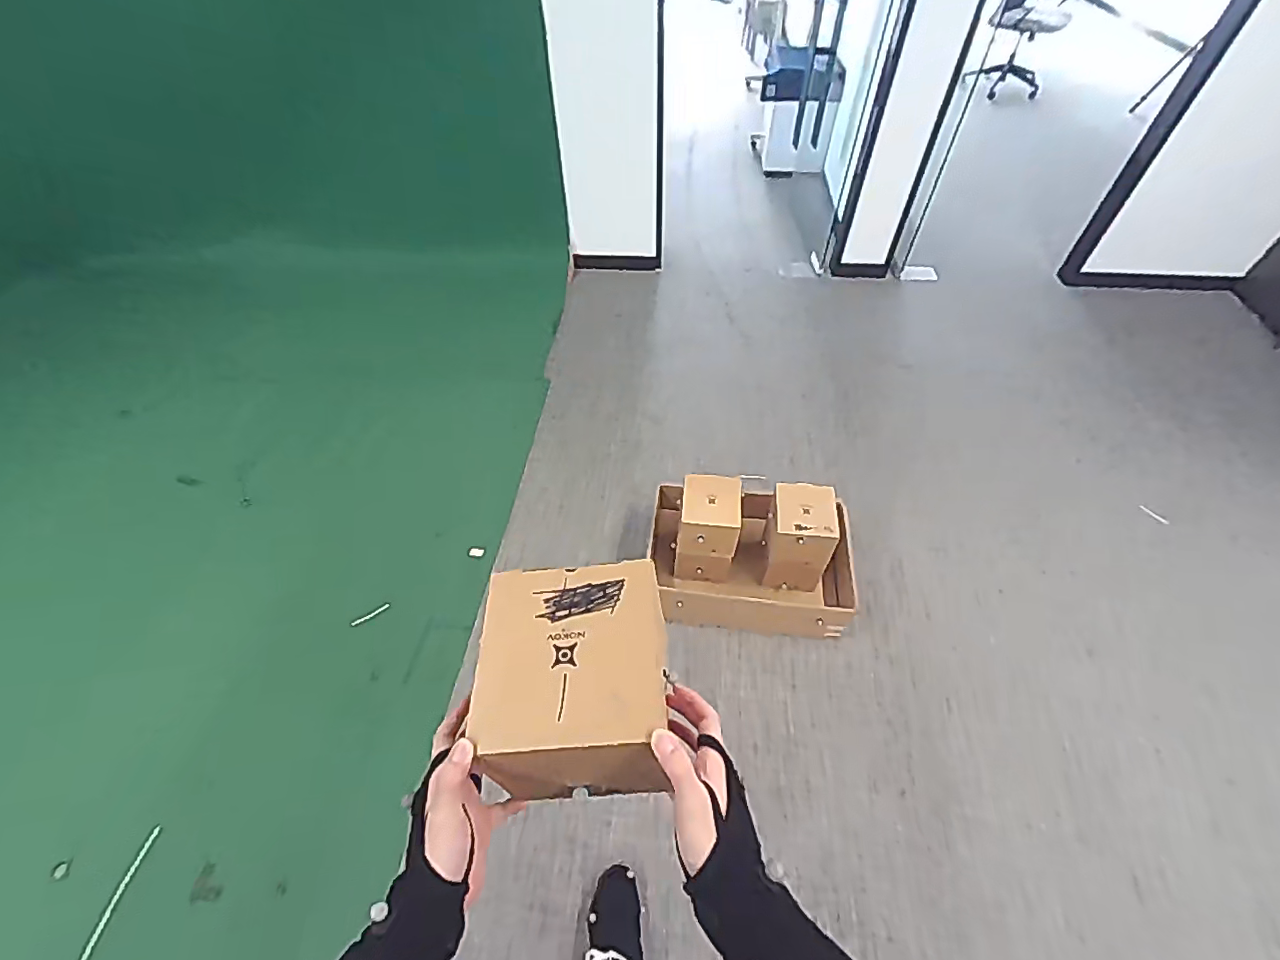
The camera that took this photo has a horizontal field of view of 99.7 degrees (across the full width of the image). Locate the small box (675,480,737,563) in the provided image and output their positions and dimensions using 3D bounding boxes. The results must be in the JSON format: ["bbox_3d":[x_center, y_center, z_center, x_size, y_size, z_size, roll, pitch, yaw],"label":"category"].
[{"bbox_3d":[0.192,0.125,1.583,0.168,0.176,0.179,5,51,4],"label":"small box"}]

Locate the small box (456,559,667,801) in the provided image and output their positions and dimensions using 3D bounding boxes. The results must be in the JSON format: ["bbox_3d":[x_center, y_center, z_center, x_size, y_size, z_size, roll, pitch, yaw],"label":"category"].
[{"bbox_3d":[-0.062,0.202,0.545,0.168,0.176,0.179,-5,47,3],"label":"small box"}]

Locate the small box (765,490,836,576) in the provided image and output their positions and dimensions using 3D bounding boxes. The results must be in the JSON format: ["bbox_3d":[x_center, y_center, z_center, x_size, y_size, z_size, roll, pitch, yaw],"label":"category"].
[{"bbox_3d":[0.455,0.153,1.559,0.168,0.176,0.179,4,51,6],"label":"small box"}]

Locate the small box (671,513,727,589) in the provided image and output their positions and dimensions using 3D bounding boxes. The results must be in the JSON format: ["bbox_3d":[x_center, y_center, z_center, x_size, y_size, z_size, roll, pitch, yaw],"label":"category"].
[{"bbox_3d":[0.188,0.225,1.709,0.168,0.176,0.179,6,51,4],"label":"small box"}]
